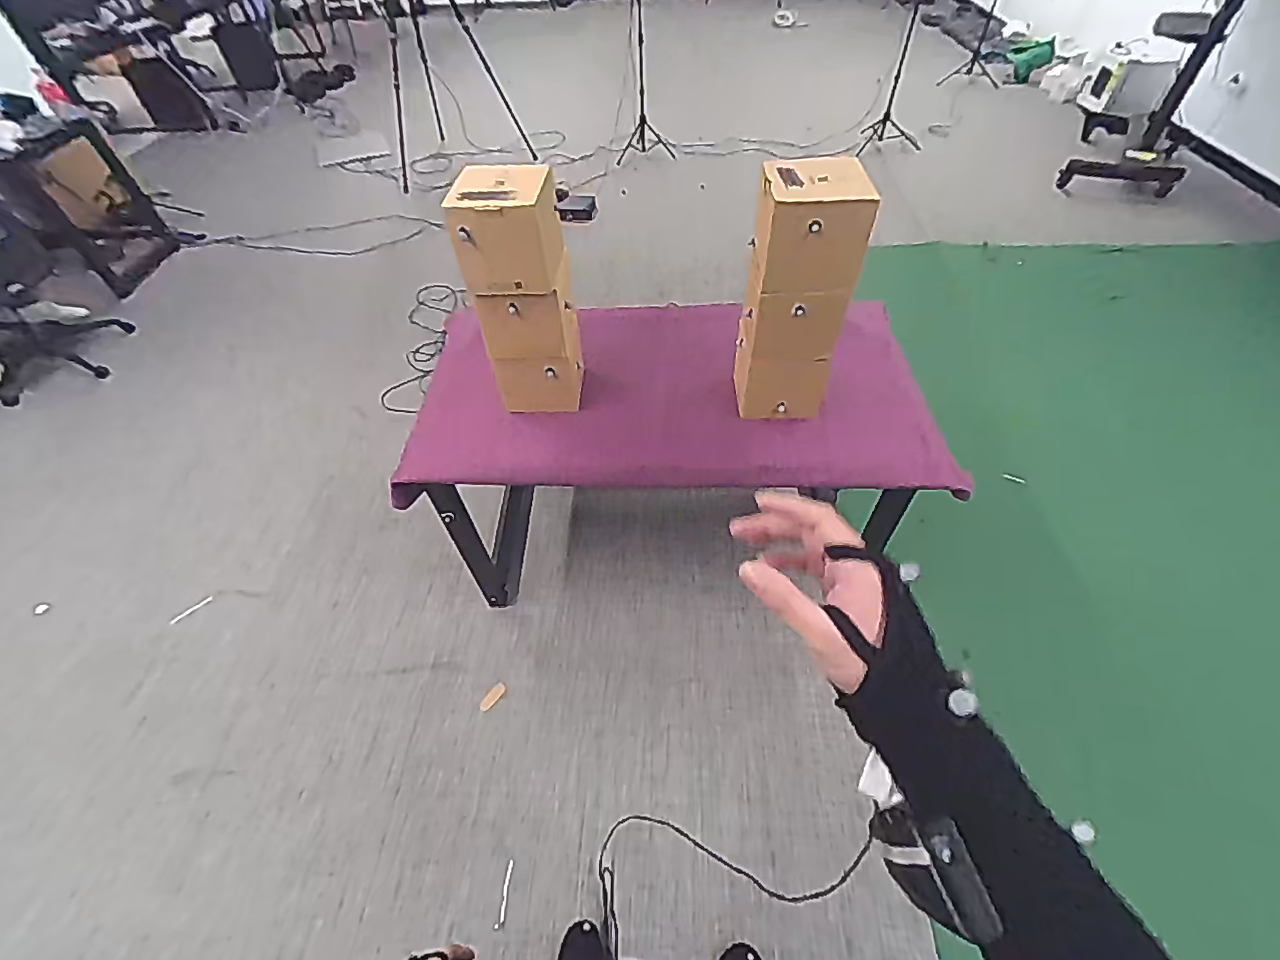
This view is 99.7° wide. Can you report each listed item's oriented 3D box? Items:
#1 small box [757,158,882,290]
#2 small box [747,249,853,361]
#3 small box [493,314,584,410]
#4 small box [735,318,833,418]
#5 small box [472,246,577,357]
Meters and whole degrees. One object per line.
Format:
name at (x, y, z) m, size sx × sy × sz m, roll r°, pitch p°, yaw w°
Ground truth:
small box at (0.314, -0.465, 0.993) m, size 0.179 × 0.176 × 0.168 m, roll -1°, pitch 52°, yaw 2°
small box at (0.317, -0.360, 1.119) m, size 0.179 × 0.176 × 0.168 m, roll 0°, pitch 52°, yaw 3°
small box at (-0.231, -0.280, 1.288) m, size 0.179 × 0.176 × 0.168 m, roll 1°, pitch 51°, yaw 2°
small box at (0.322, -0.256, 1.245) m, size 0.179 × 0.176 × 0.168 m, roll -1°, pitch 50°, yaw 2°
small box at (-0.236, -0.379, 1.161) m, size 0.179 × 0.176 × 0.168 m, roll 0°, pitch 52°, yaw 3°
